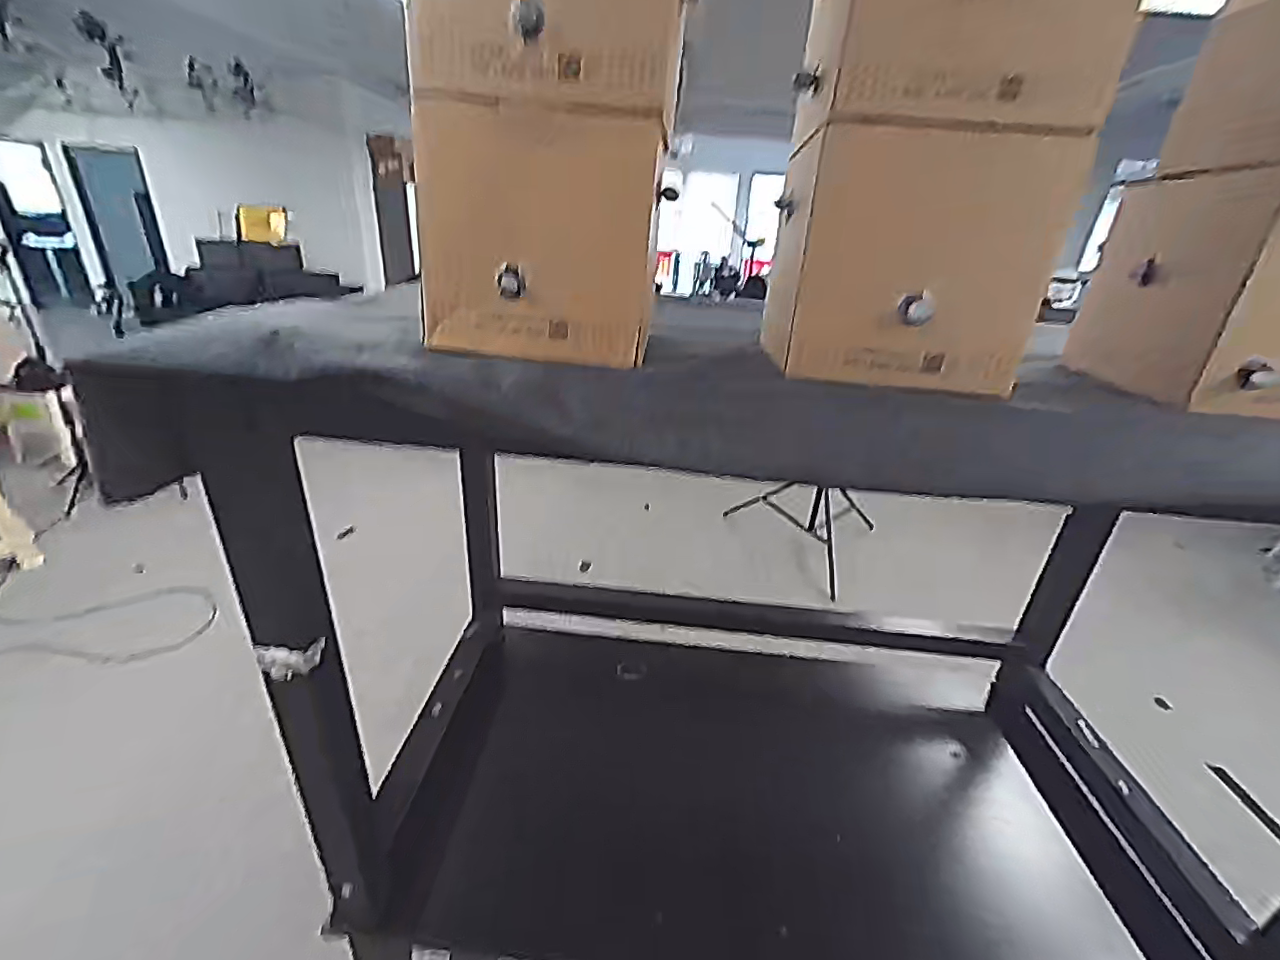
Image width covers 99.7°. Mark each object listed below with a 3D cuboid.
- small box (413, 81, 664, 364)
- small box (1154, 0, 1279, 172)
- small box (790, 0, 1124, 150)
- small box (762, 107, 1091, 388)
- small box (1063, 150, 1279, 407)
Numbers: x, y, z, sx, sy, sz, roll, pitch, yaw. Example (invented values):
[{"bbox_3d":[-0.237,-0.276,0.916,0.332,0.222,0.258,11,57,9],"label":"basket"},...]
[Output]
[{"bbox_3d":[-0.071,-0.203,0.454,0.168,0.176,0.179,6,23,1],"label":"small box"},{"bbox_3d":[0.506,-0.292,0.343,0.168,0.176,0.179,5,23,0],"label":"small box"},{"bbox_3d":[0.213,-0.333,0.383,0.168,0.176,0.179,6,23,3],"label":"small box"},{"bbox_3d":[0.201,-0.181,0.445,0.168,0.176,0.179,5,22,4],"label":"small box"},{"bbox_3d":[0.499,-0.156,0.437,0.168,0.176,0.179,7,23,6],"label":"small box"}]
